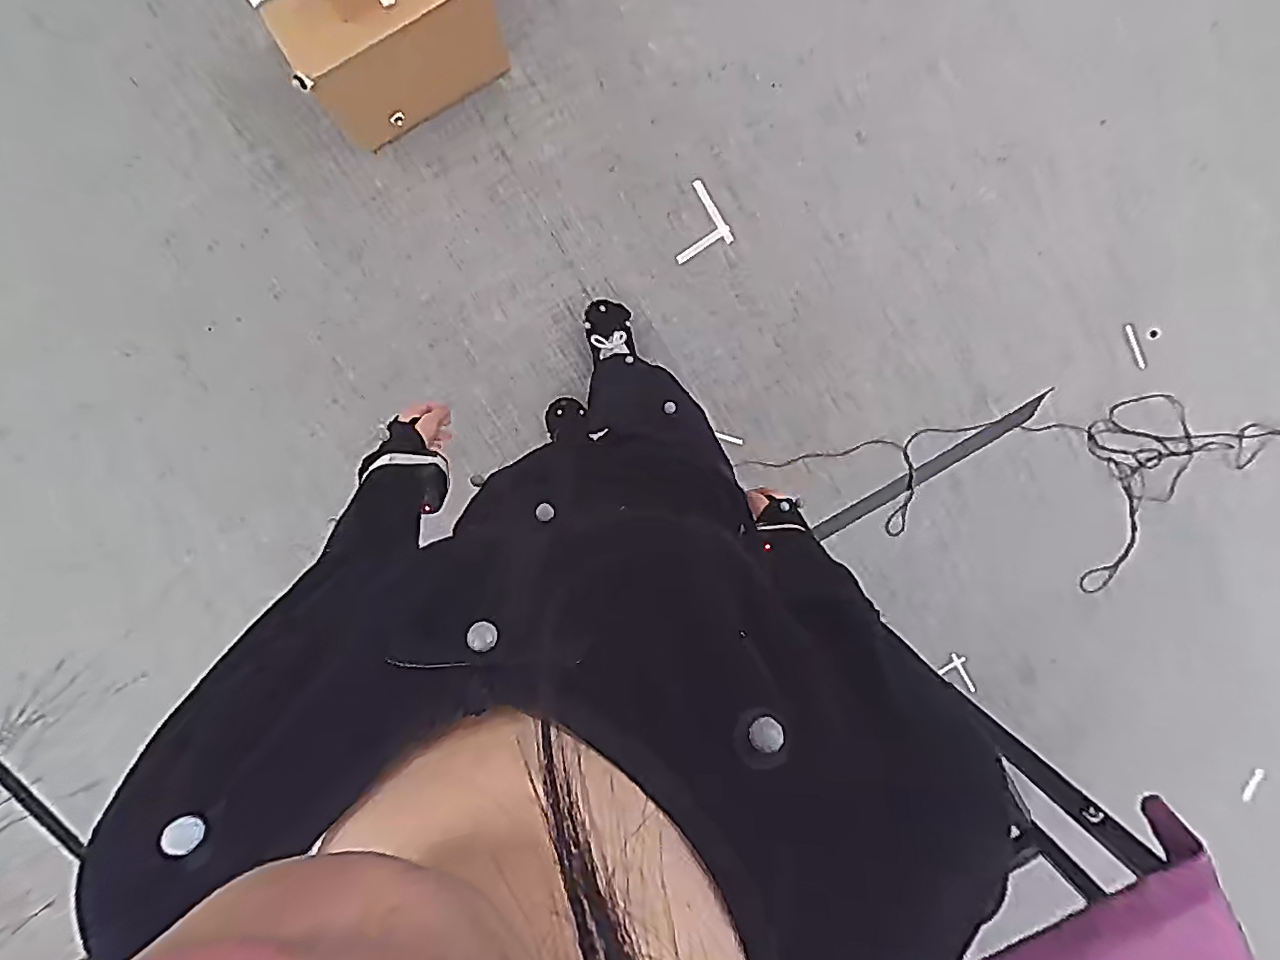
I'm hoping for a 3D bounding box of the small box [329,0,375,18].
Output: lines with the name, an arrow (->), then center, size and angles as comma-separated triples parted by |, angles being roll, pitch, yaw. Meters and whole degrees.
small box -> -0.505, -0.937, 0.901 | 0.179, 0.176, 0.168 | -33, 102, 0
